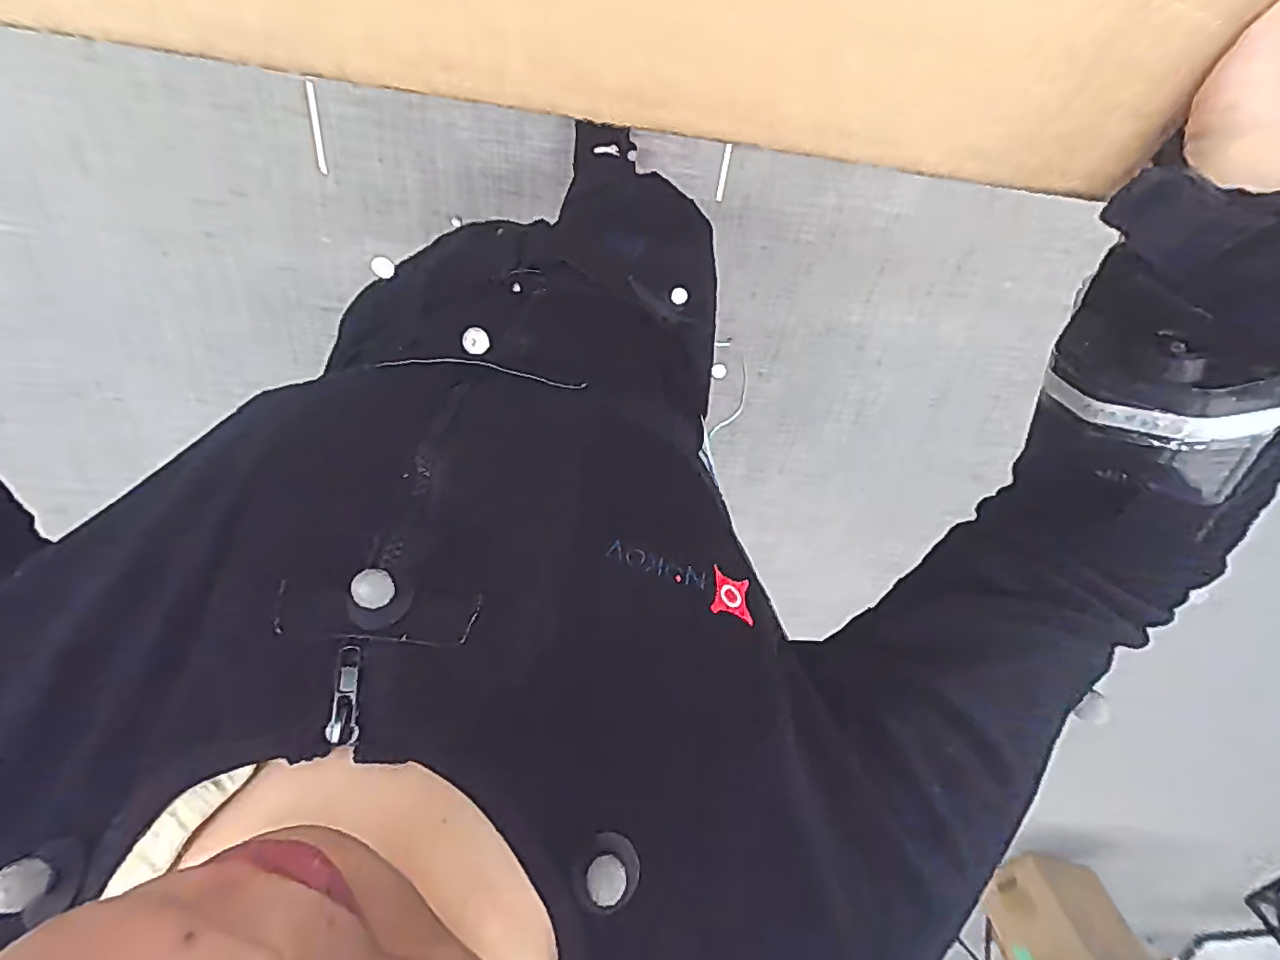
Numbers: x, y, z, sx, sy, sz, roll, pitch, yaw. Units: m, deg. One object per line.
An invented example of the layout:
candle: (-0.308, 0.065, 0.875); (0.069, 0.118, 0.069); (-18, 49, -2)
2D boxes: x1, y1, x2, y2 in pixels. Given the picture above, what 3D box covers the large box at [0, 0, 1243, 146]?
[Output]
large box: (-0.019, -0.330, 0.115); (0.408, 0.320, 0.320); (4, 148, -7)
